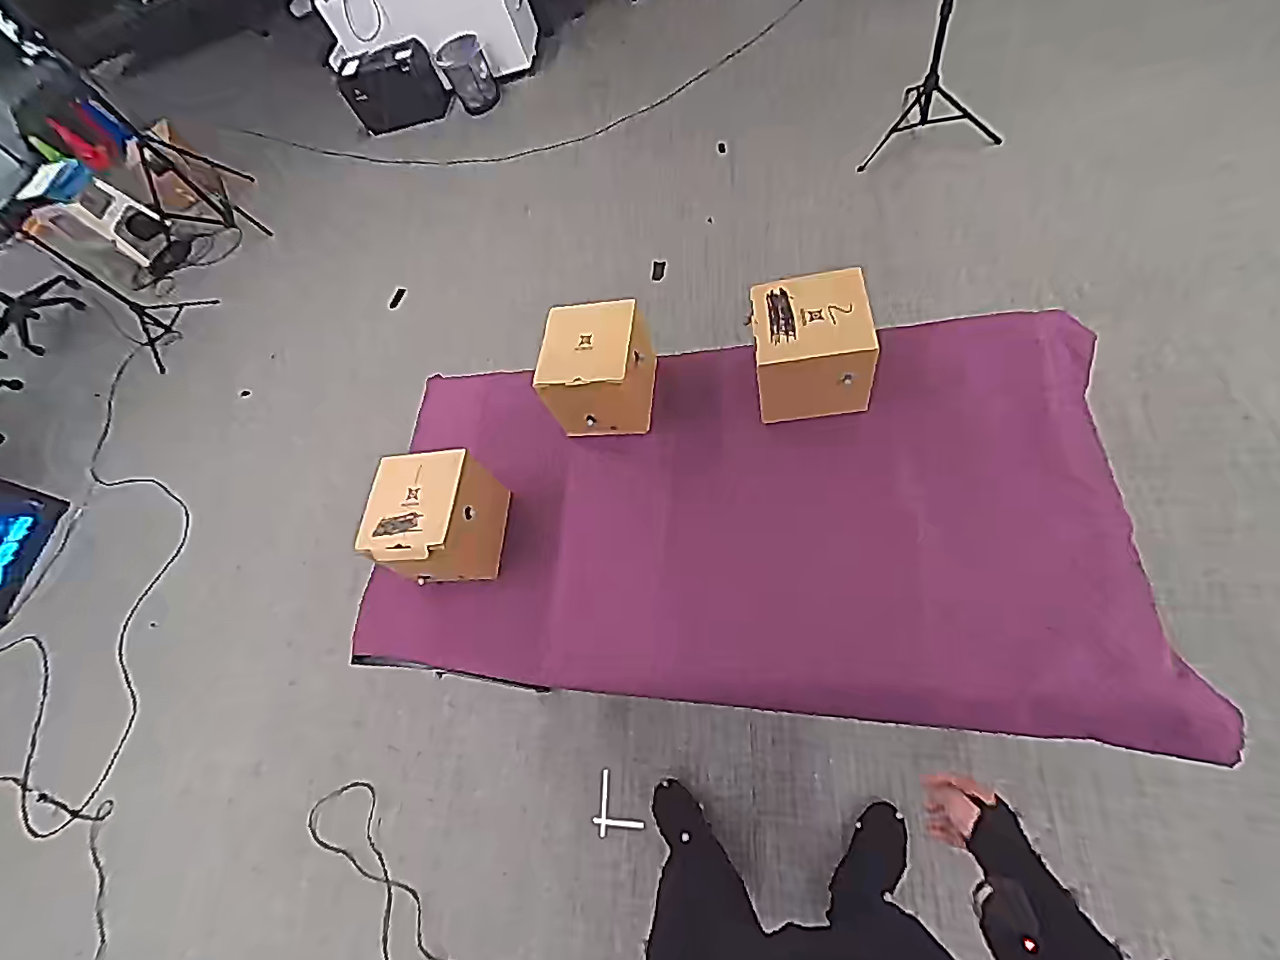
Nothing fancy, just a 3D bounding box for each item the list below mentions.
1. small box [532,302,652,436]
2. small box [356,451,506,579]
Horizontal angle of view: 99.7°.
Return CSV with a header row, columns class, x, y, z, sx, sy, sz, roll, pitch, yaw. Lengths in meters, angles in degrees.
class,x,y,z,sx,sy,sz,roll,pitch,yaw
small box,-0.077,-0.199,1.000,0.168,0.176,0.179,-1,64,15
small box,-0.352,0.071,0.947,0.168,0.176,0.179,-5,62,14
